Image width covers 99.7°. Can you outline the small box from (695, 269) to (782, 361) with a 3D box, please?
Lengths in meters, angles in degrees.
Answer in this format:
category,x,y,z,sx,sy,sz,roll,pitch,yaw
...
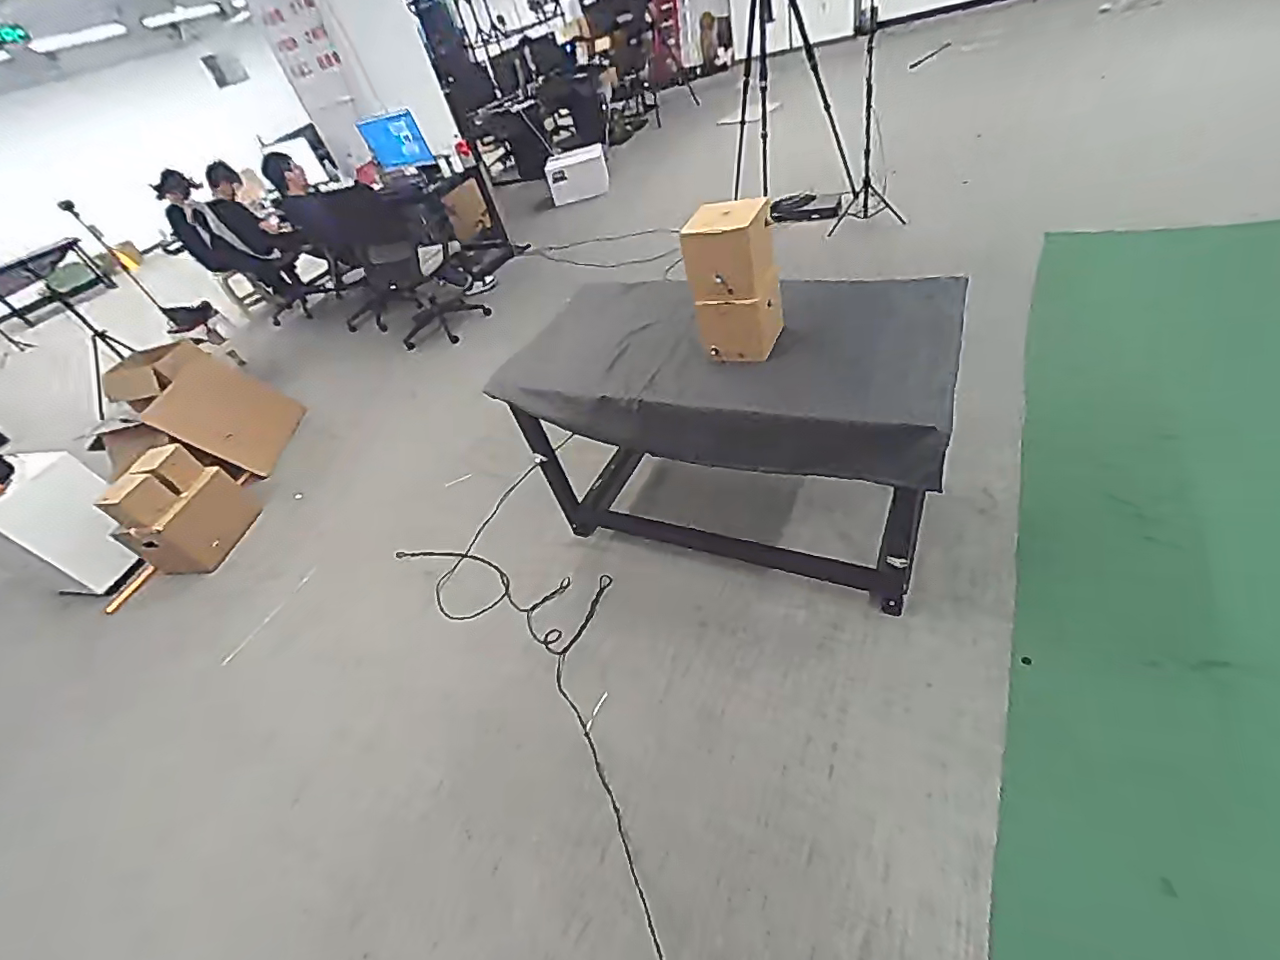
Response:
category,x,y,z,sx,sy,sz,roll,pitch,yaw
small box,0.262,-0.422,1.393,0.168,0.176,0.179,9,48,28

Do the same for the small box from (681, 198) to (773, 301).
category,x,y,z,sx,sy,sz,roll,pitch,yaw
small box,0.216,-0.550,1.298,0.168,0.176,0.179,7,49,28
